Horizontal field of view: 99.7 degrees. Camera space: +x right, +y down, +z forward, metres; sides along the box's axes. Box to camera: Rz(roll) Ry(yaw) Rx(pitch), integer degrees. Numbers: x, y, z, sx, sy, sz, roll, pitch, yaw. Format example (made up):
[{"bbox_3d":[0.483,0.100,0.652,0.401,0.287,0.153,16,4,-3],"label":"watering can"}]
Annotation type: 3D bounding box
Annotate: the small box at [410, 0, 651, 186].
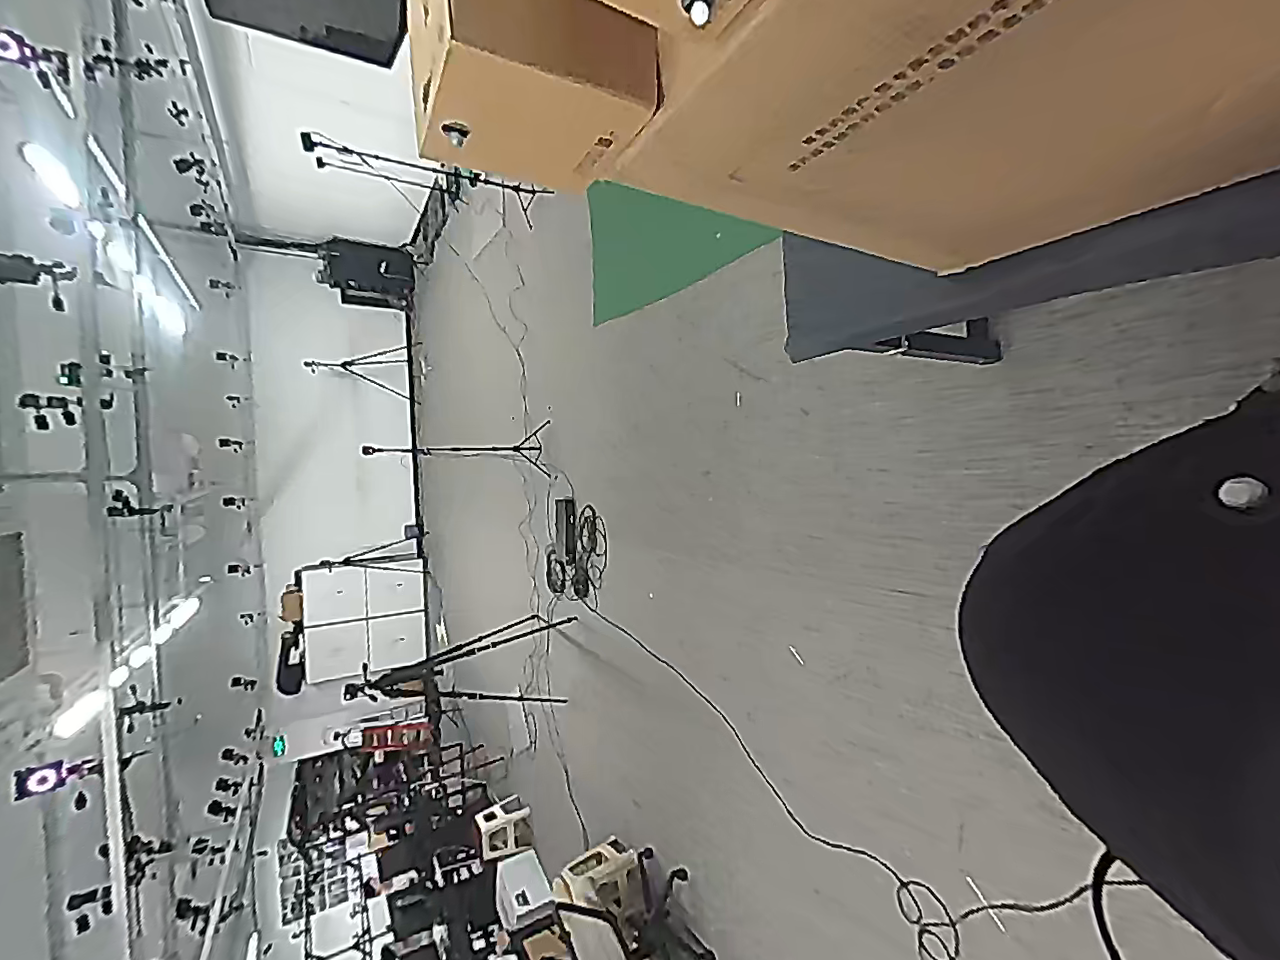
[{"bbox_3d":[-0.099,-0.393,0.472,0.168,0.176,0.179,5,96,62],"label":"small box"}]
